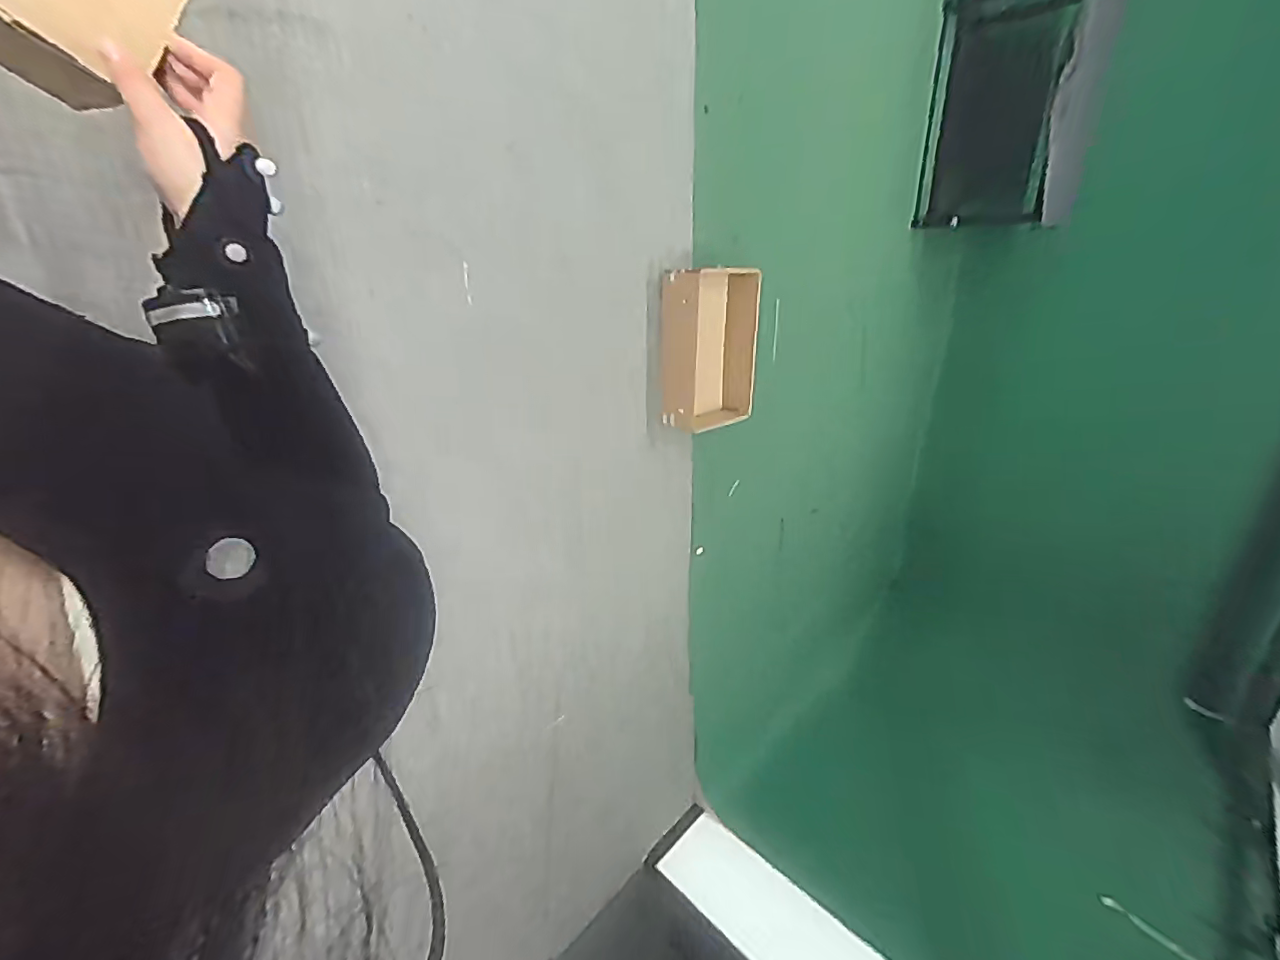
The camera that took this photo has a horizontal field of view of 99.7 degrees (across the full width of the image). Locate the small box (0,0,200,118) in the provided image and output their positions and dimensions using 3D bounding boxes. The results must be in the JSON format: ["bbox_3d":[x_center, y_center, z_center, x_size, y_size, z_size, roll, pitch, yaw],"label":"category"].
[{"bbox_3d":[-0.414,-0.376,0.352,0.168,0.176,0.179,28,84,-58],"label":"small box"}]
